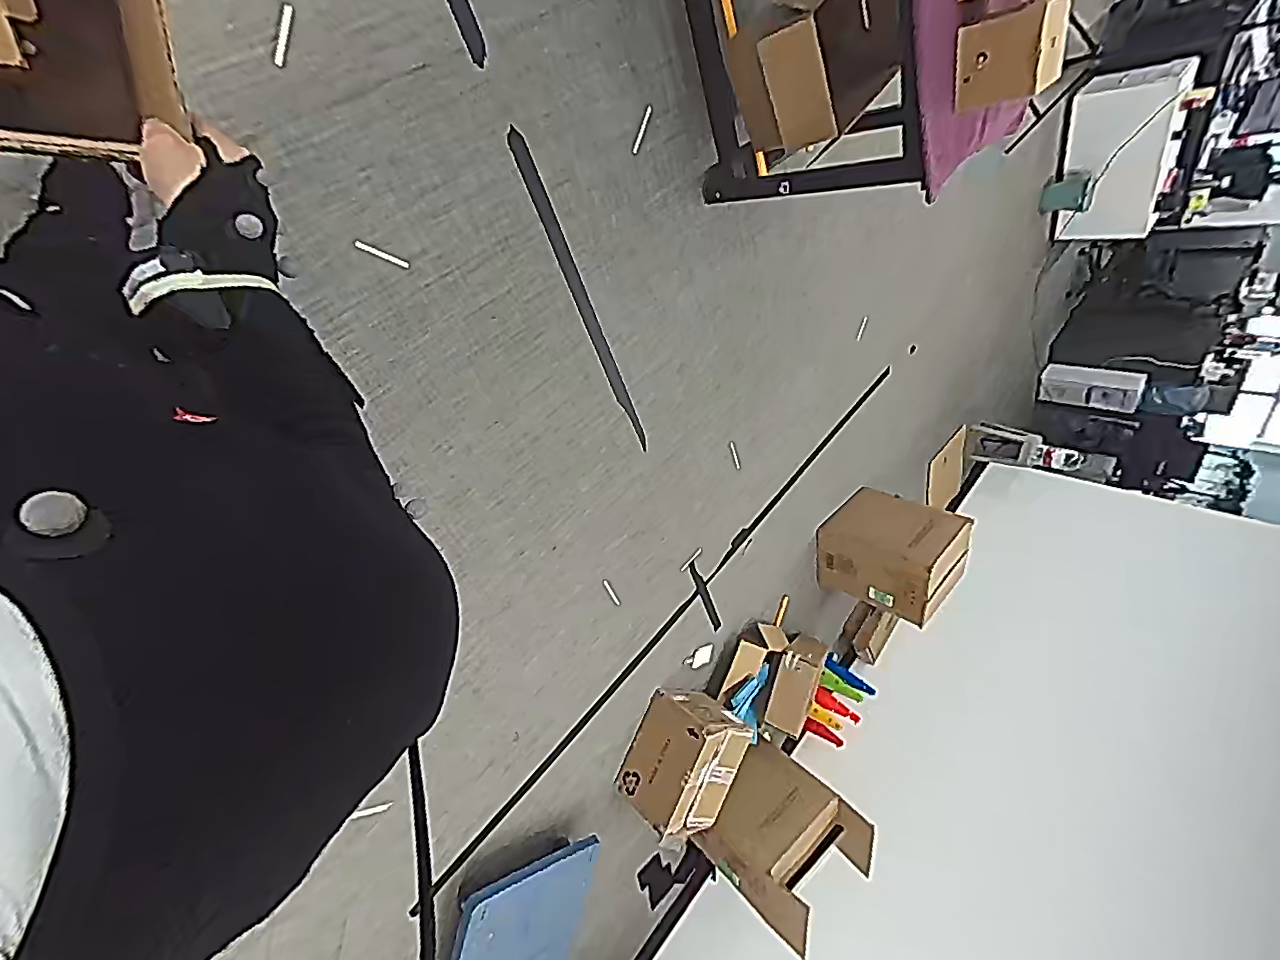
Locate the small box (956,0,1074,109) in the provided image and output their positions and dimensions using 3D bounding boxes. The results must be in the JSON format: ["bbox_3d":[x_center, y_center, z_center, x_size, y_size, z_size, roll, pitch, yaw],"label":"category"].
[{"bbox_3d":[0.849,-0.975,1.232,0.179,0.176,0.168,-41,130,-26],"label":"small box"}]
